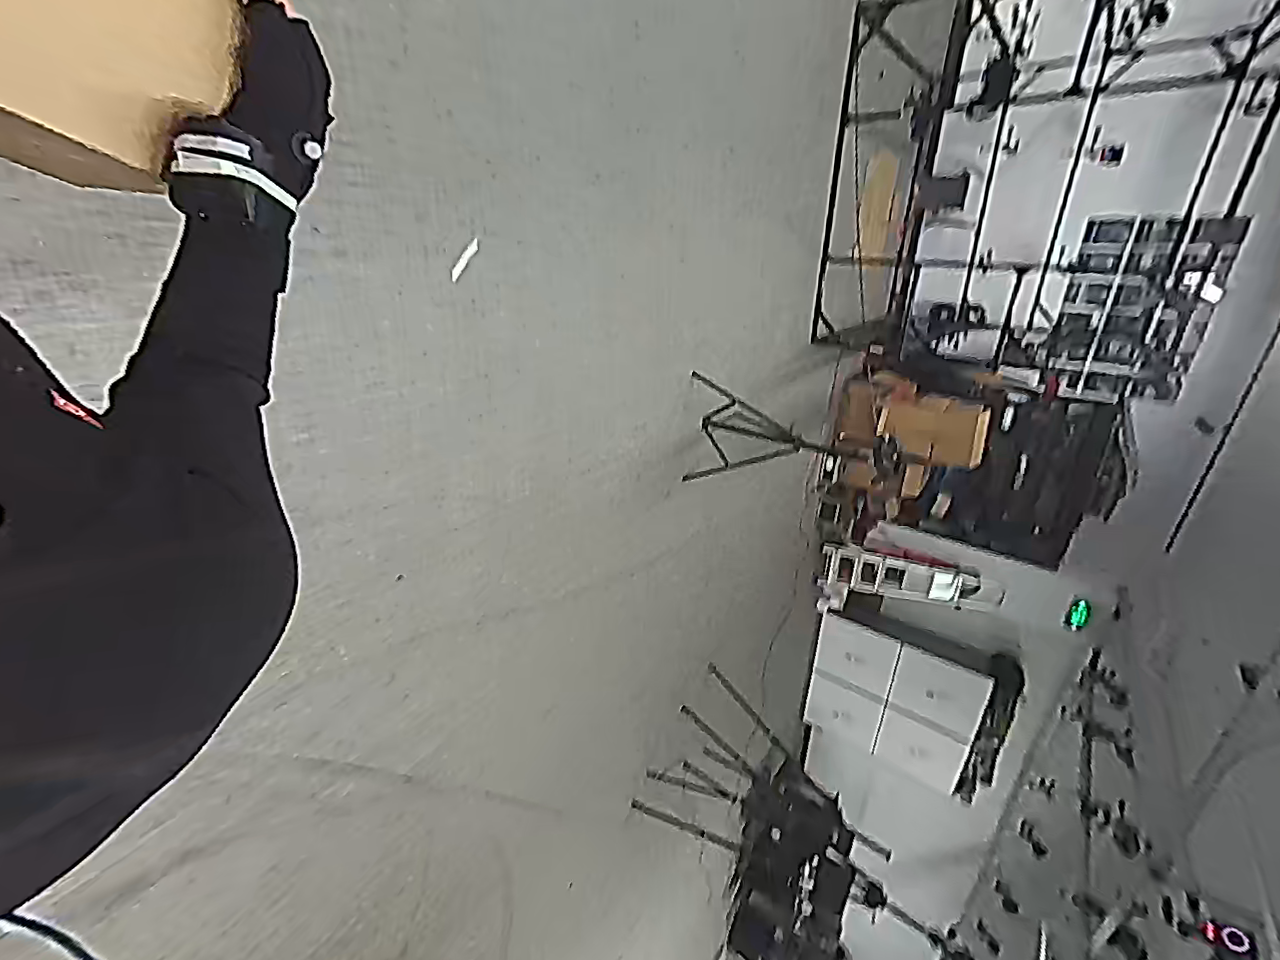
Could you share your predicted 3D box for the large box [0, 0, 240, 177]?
[{"bbox_3d":[-0.522,-0.431,0.308,0.408,0.320,0.320,6,102,-62],"label":"large box"}]
